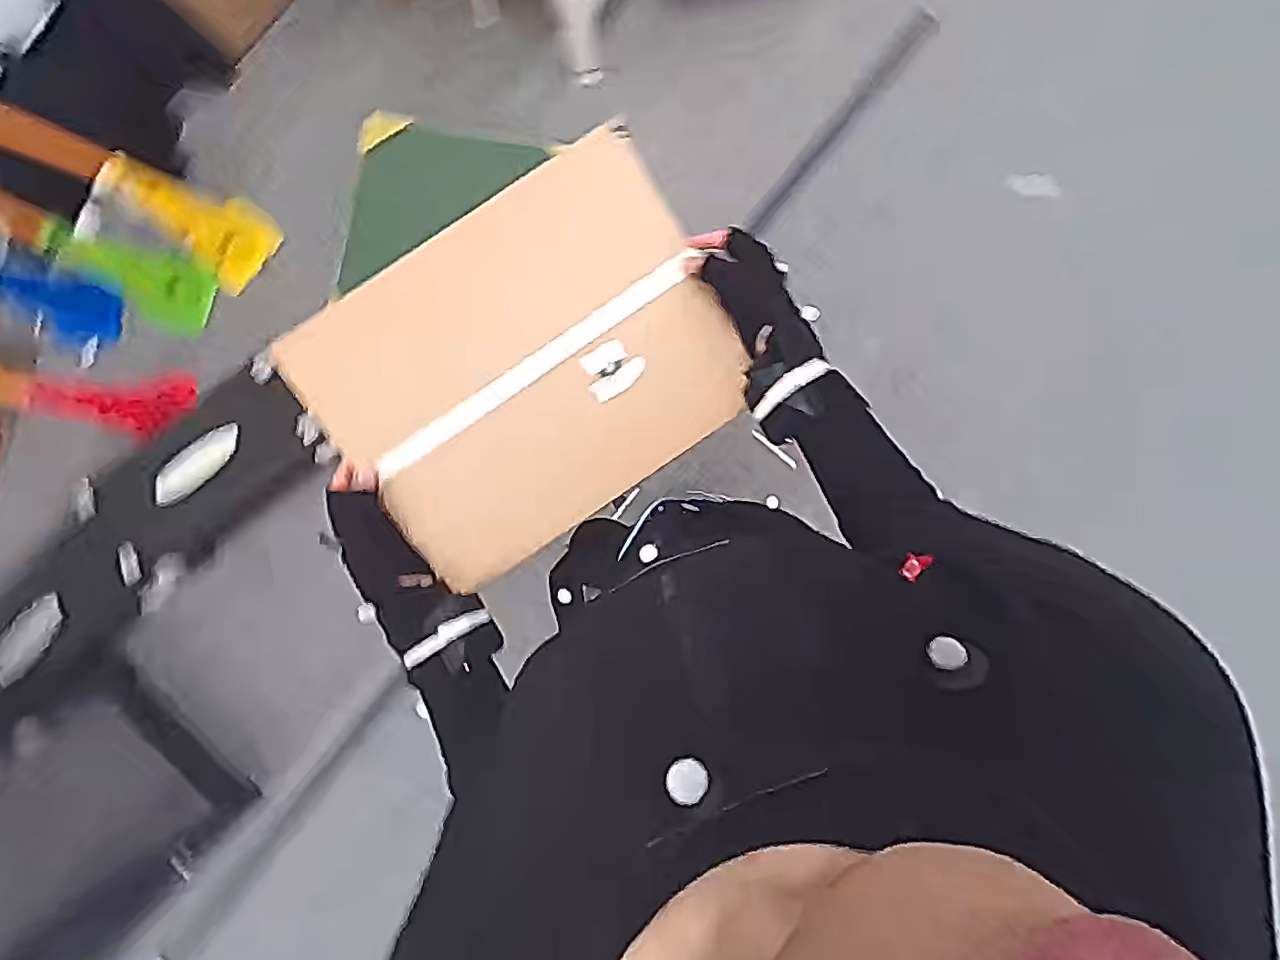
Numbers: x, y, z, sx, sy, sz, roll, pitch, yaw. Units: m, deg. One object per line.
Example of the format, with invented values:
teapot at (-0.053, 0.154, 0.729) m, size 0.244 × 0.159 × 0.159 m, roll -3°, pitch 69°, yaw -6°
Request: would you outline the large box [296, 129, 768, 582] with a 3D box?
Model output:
large box at (-0.116, -0.133, 0.710) m, size 0.408 × 0.320 × 0.320 m, roll -33°, pitch 97°, yaw 0°
